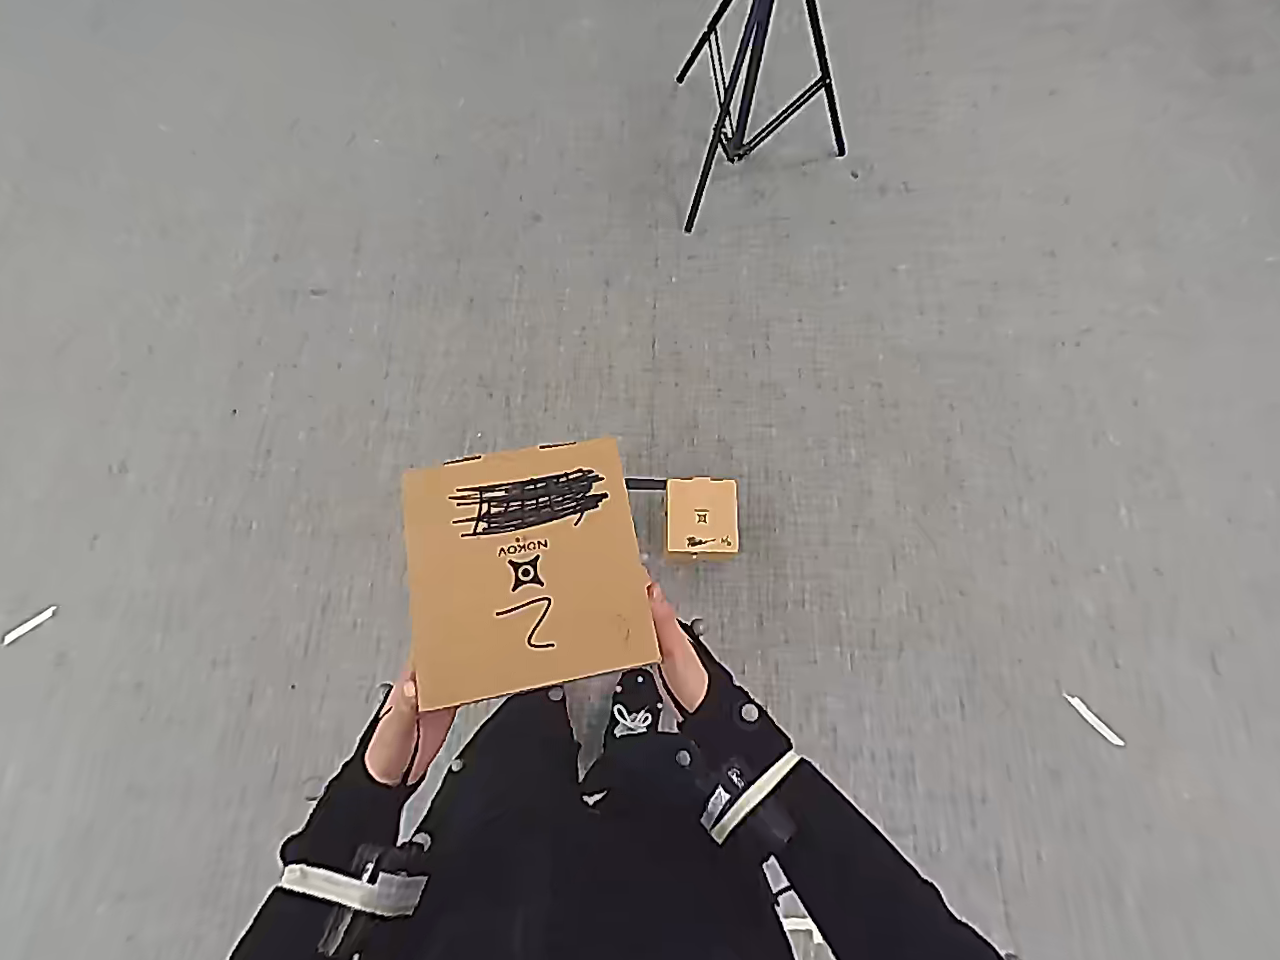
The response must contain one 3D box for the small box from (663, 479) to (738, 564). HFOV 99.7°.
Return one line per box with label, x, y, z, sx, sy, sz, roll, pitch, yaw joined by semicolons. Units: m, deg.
small box;0.144;0.107;1.336;0.168;0.176;0.179;1;74;-1
